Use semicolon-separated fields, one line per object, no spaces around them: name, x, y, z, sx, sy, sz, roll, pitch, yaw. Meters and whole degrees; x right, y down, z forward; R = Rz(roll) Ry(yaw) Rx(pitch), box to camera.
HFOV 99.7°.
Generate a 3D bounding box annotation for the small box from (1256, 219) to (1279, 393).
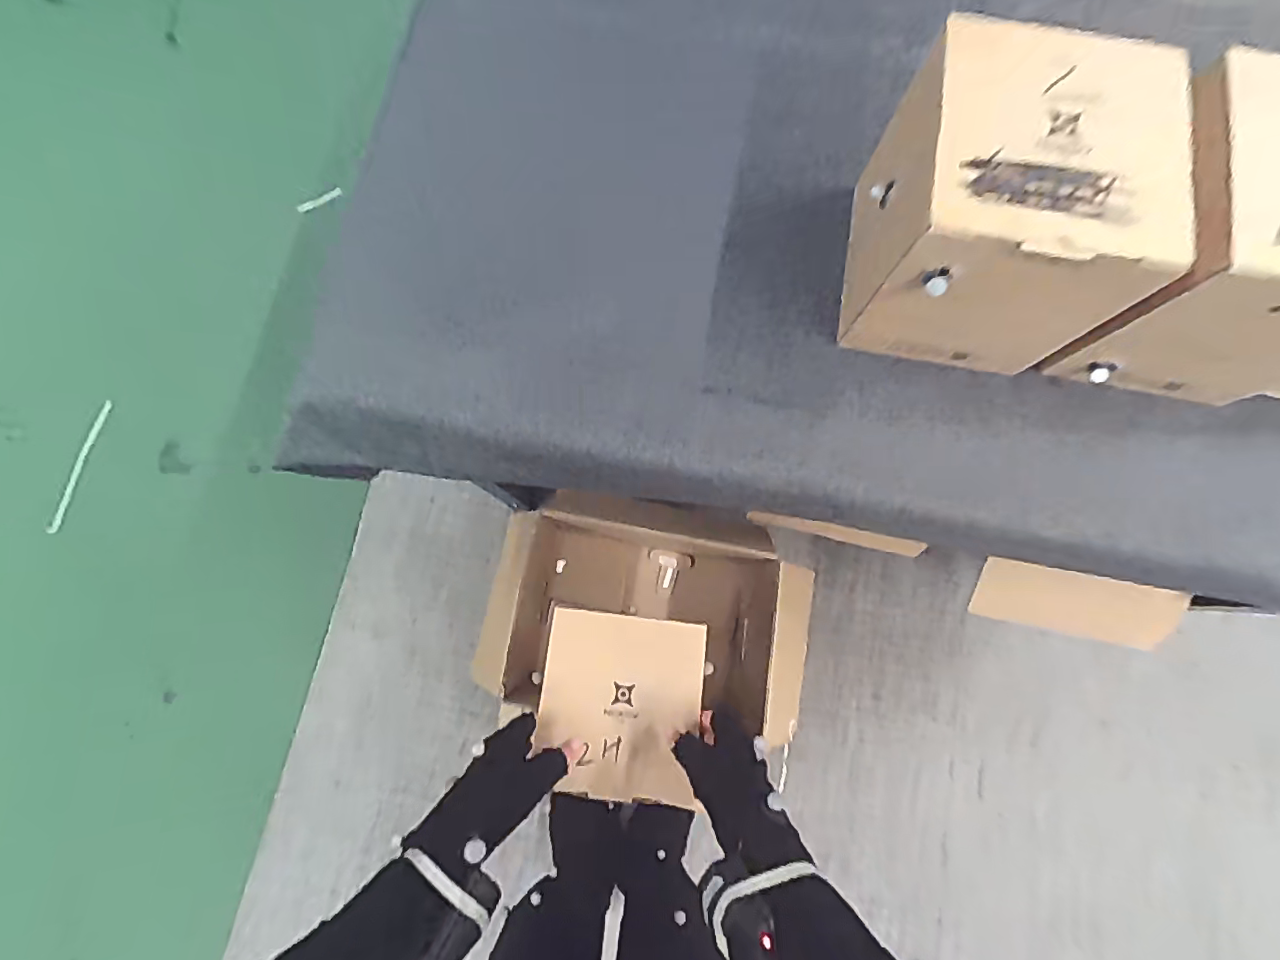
small box;0.660;-0.166;0.429;0.168;0.176;0.179;11;79;2
